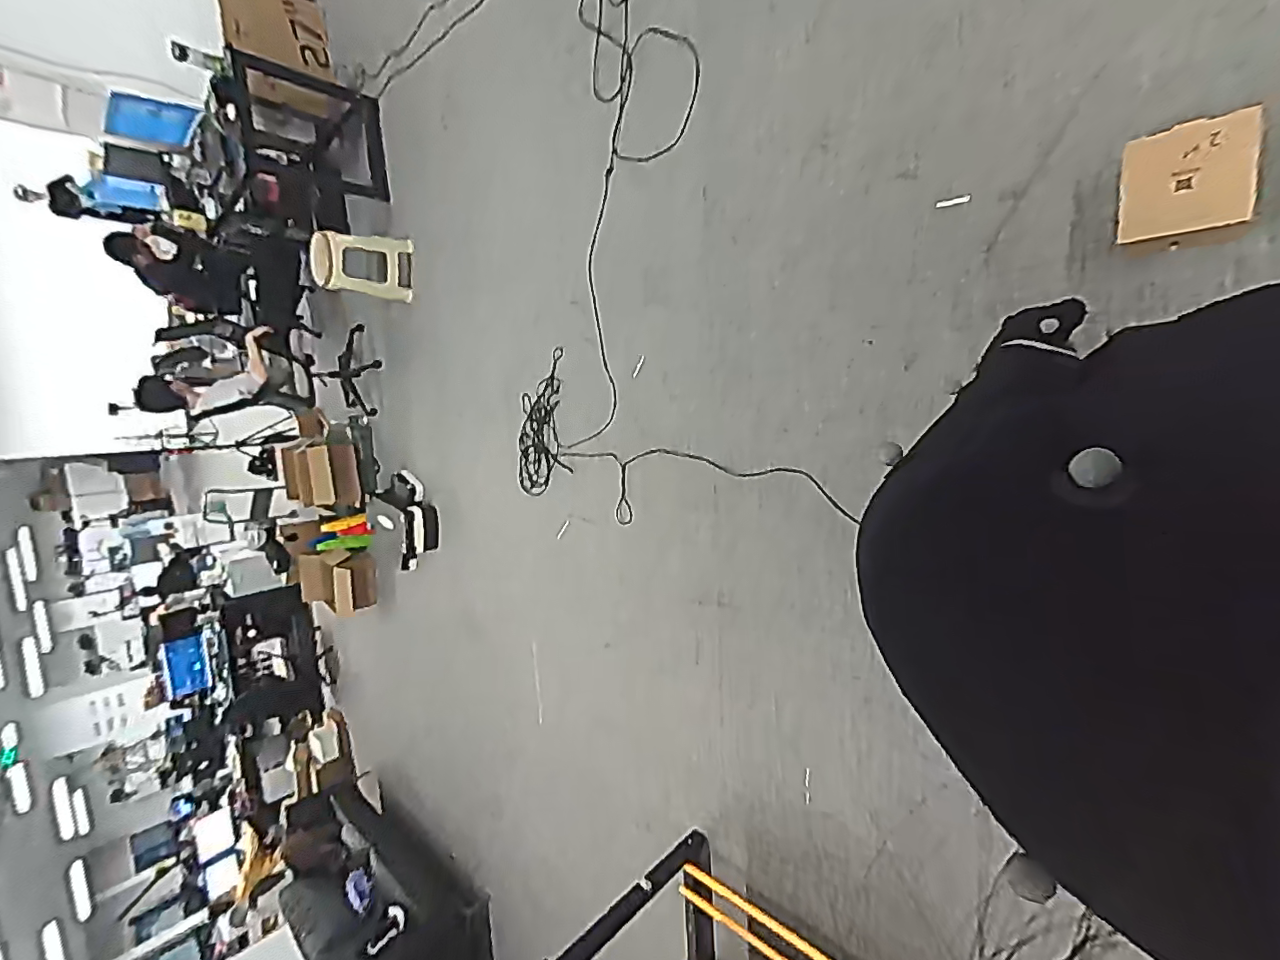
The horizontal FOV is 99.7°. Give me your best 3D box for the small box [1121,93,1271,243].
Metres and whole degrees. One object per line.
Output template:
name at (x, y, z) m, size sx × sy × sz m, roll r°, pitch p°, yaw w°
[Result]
small box at (0.973, -0.531, 0.955) m, size 0.168 × 0.176 × 0.179 m, roll 5°, pitch 102°, yaw 43°
